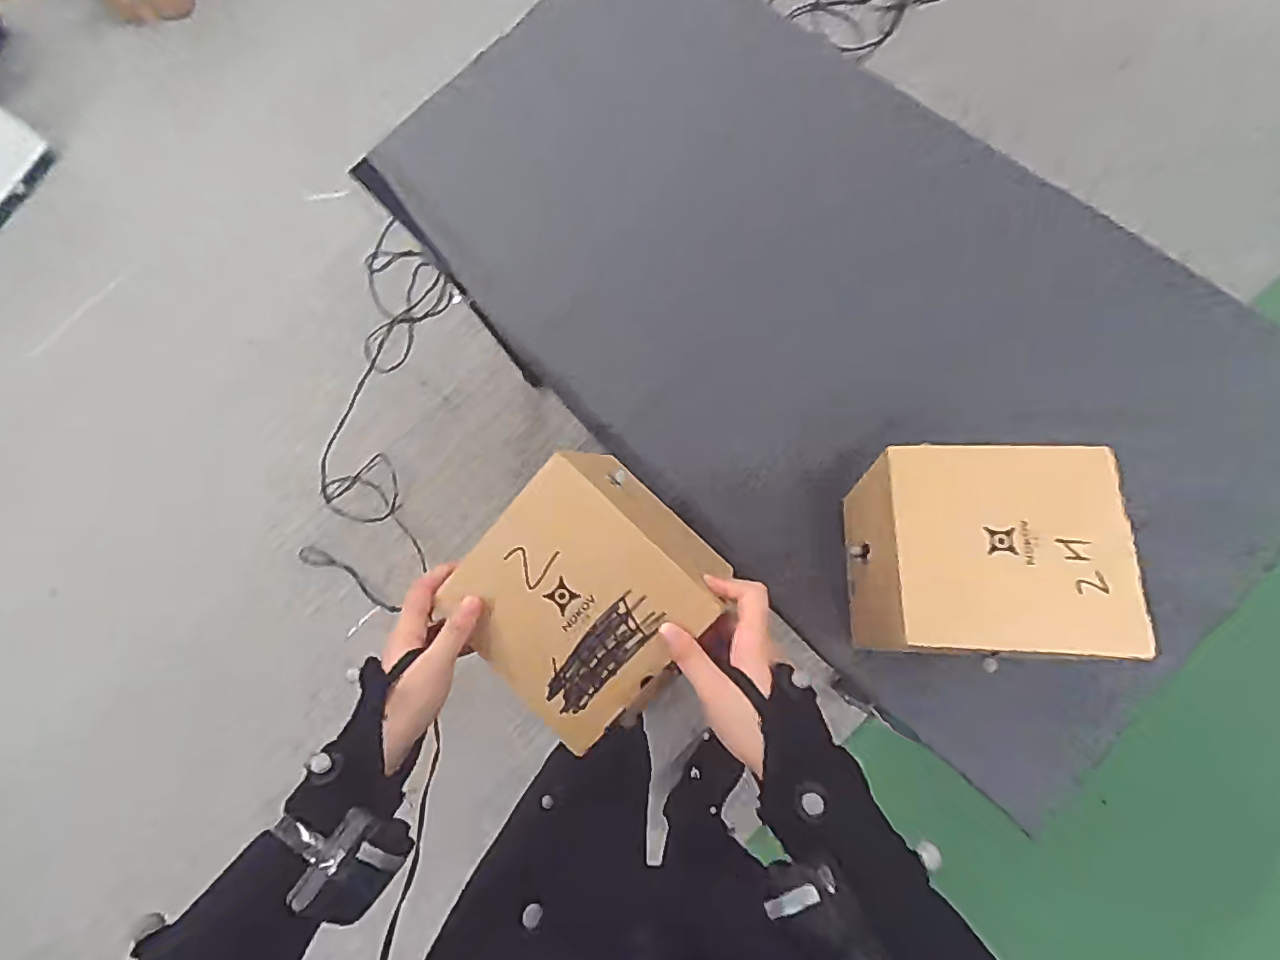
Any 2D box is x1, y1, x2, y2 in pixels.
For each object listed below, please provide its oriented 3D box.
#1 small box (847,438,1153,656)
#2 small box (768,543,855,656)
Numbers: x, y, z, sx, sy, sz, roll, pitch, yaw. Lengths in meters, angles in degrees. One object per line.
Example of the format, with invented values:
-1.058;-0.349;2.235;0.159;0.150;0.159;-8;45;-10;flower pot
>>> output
0.296;0.070;0.496;0.179;0.176;0.168;1;72;8;small box
0.402;0.265;1.194;0.168;0.176;0.179;-38;74;-3;small box
